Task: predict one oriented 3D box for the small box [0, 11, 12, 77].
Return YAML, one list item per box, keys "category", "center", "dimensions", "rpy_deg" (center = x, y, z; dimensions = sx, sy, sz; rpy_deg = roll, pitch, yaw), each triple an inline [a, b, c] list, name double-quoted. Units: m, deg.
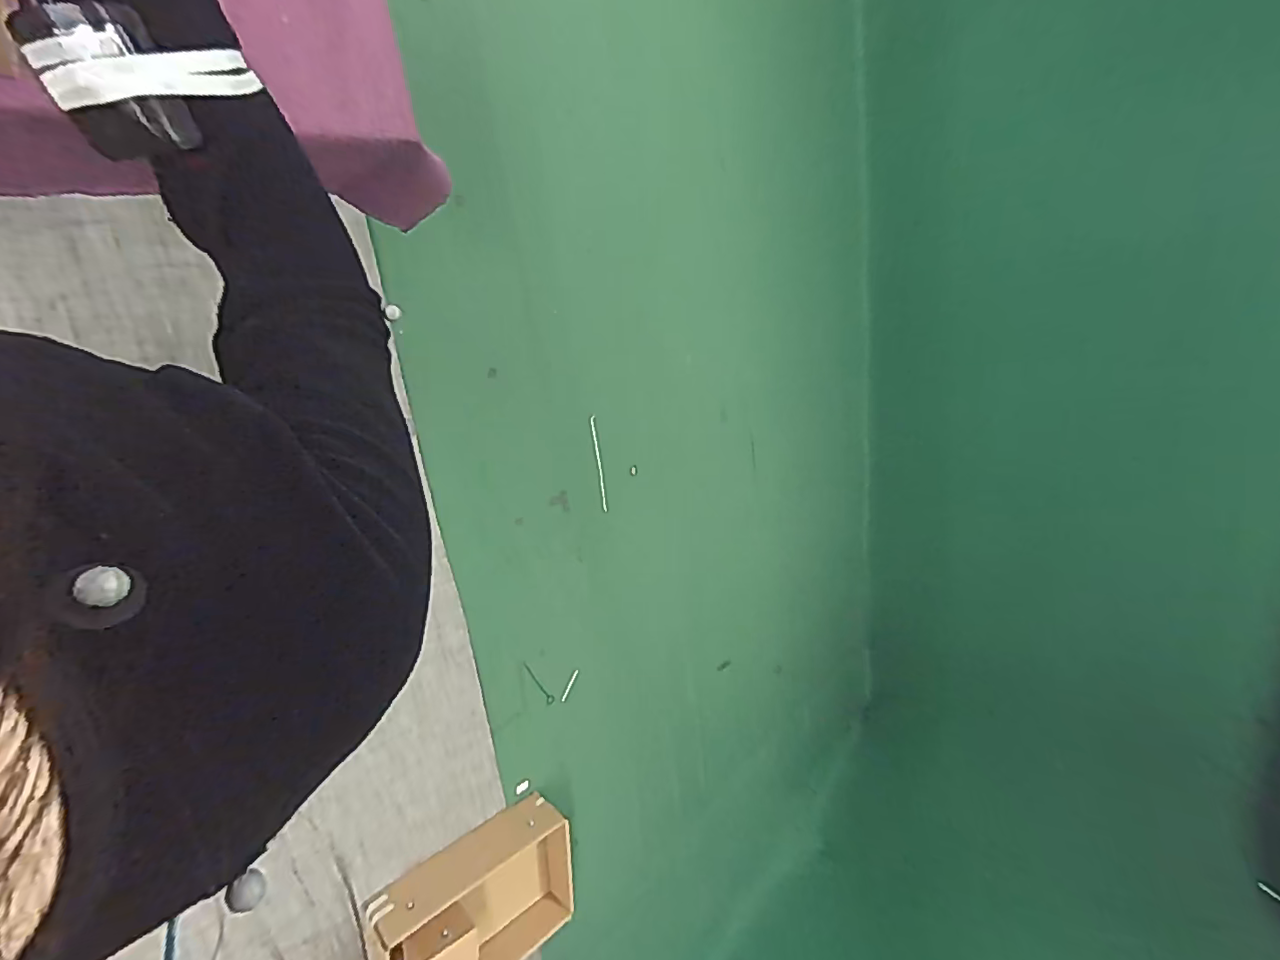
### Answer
- category: "small box"
  center: [-0.601, -0.427, 0.383]
  dimensions: [0.168, 0.176, 0.179]
  rpy_deg: [-23, 111, -43]
